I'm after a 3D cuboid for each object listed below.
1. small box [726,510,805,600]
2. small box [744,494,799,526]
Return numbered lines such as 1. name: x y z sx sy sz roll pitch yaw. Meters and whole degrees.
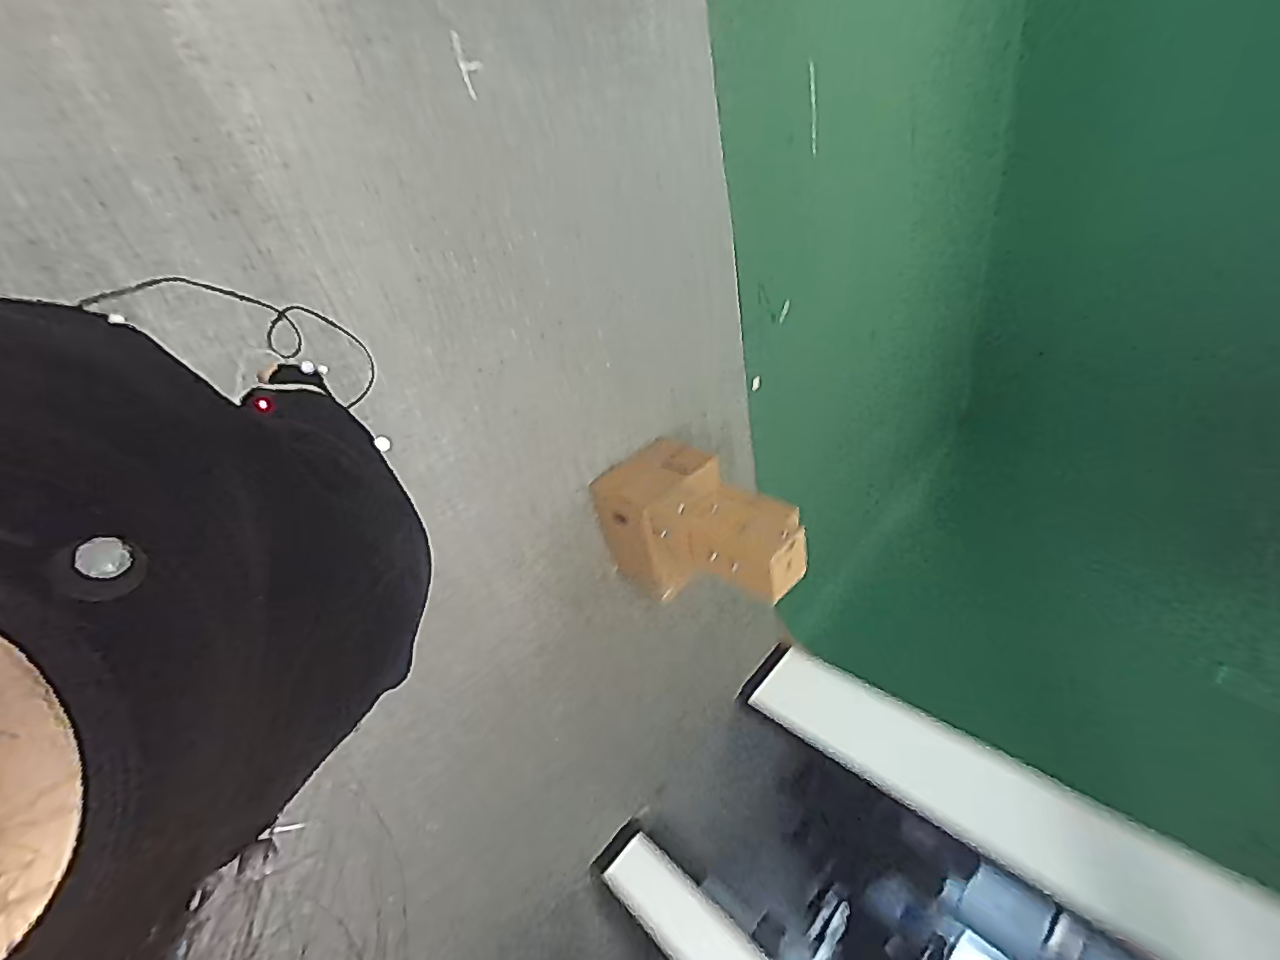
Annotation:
1. small box: 0.376 0.219 1.617 0.168 0.176 0.179 -34 128 -31
2. small box: 0.448 0.176 1.923 0.179 0.176 0.168 -38 132 -30
